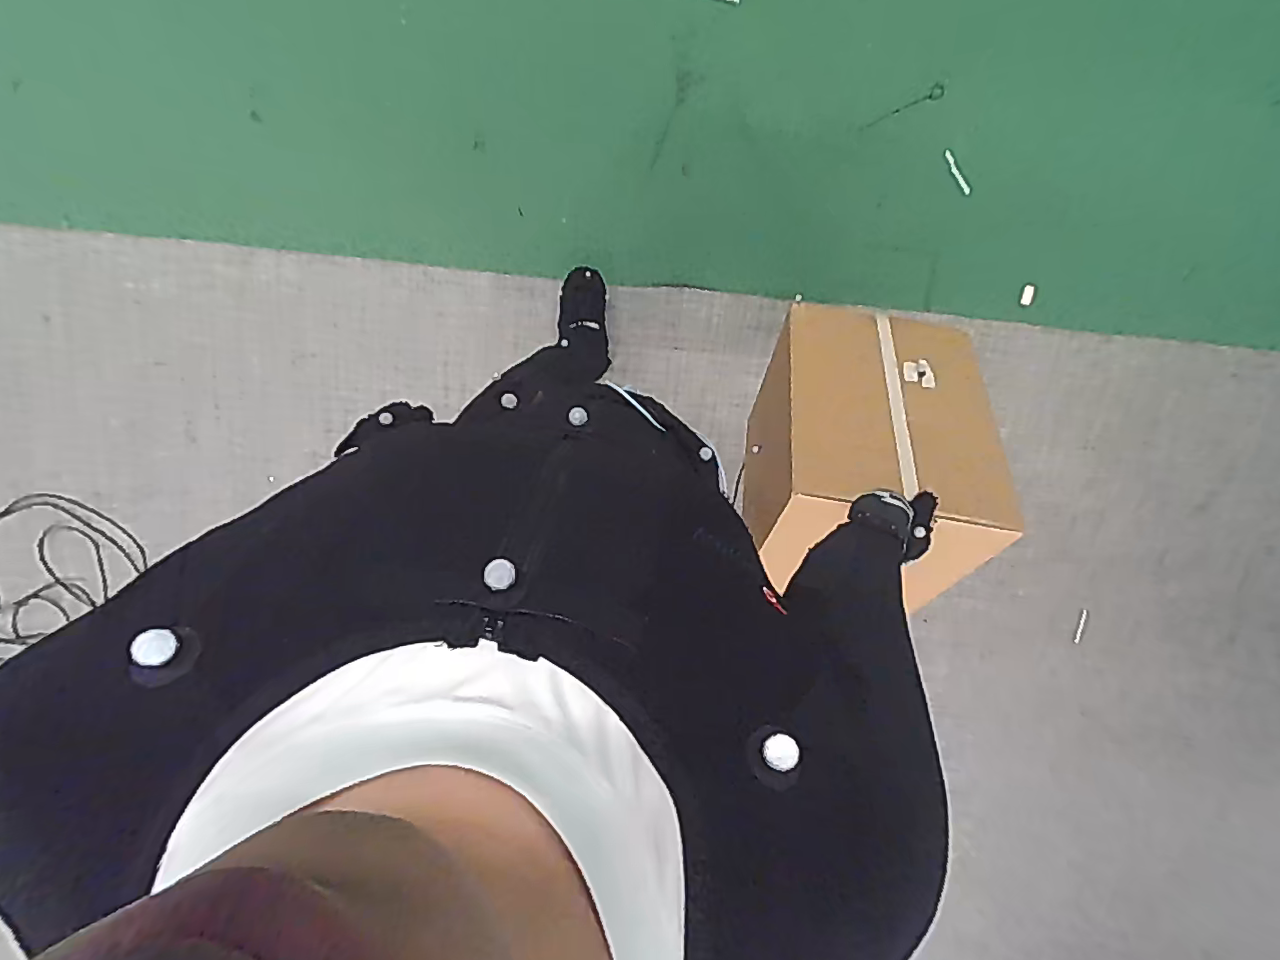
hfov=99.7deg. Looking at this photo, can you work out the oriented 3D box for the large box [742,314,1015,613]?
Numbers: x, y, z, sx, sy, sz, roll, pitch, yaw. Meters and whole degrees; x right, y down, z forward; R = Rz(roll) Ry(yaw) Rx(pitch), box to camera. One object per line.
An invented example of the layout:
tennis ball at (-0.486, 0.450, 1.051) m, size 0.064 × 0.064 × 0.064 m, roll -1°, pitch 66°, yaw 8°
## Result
large box at (0.371, -0.025, 0.960) m, size 0.320 × 0.408 × 0.320 m, roll 11°, pitch 145°, yaw 0°
